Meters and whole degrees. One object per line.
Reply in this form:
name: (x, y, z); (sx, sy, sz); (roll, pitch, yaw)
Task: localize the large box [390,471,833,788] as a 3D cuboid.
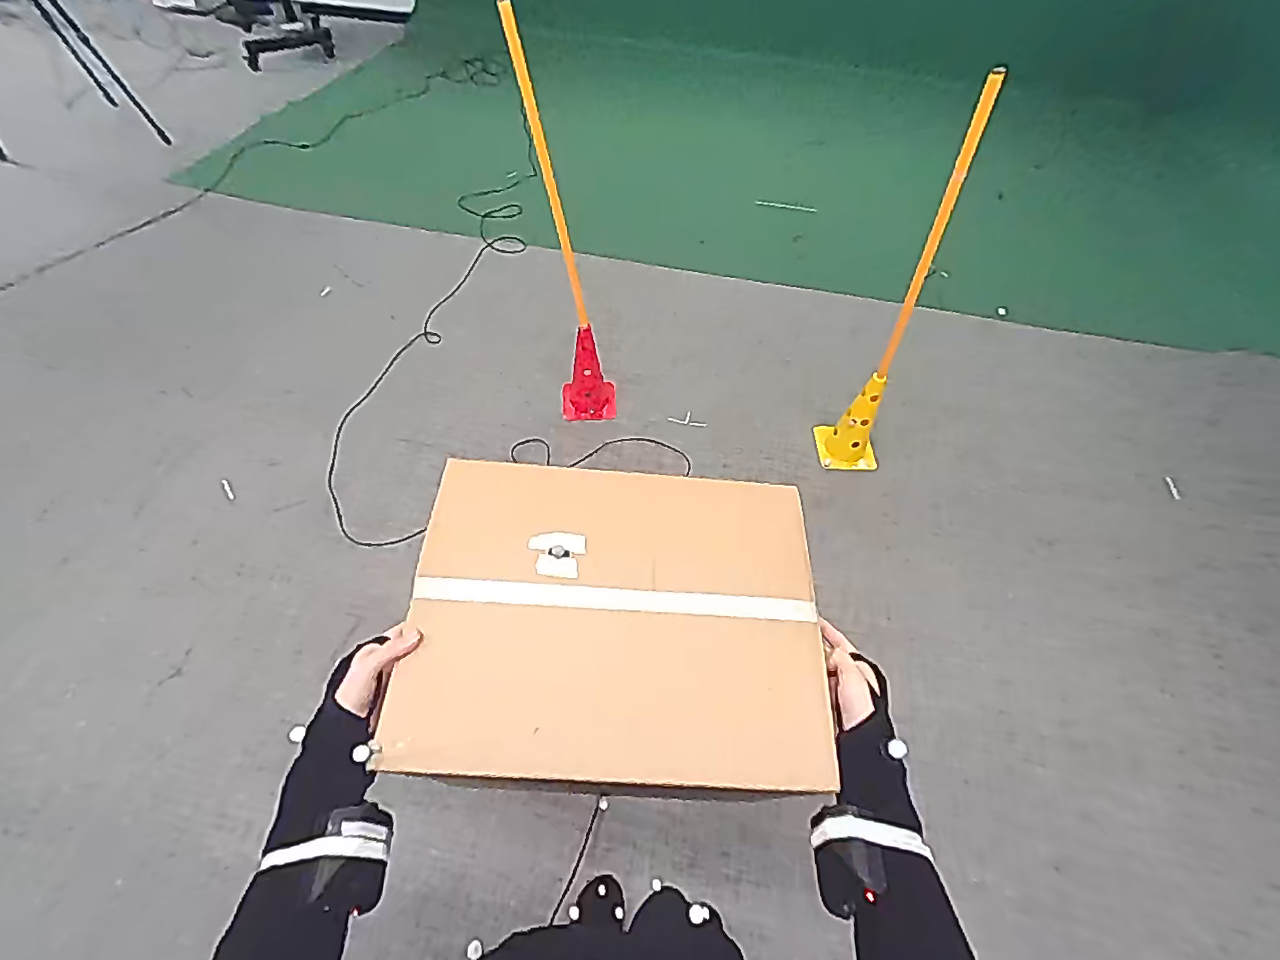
large box: (-0.026, 0.206, 0.683); (0.408, 0.320, 0.320); (4, 57, -2)
